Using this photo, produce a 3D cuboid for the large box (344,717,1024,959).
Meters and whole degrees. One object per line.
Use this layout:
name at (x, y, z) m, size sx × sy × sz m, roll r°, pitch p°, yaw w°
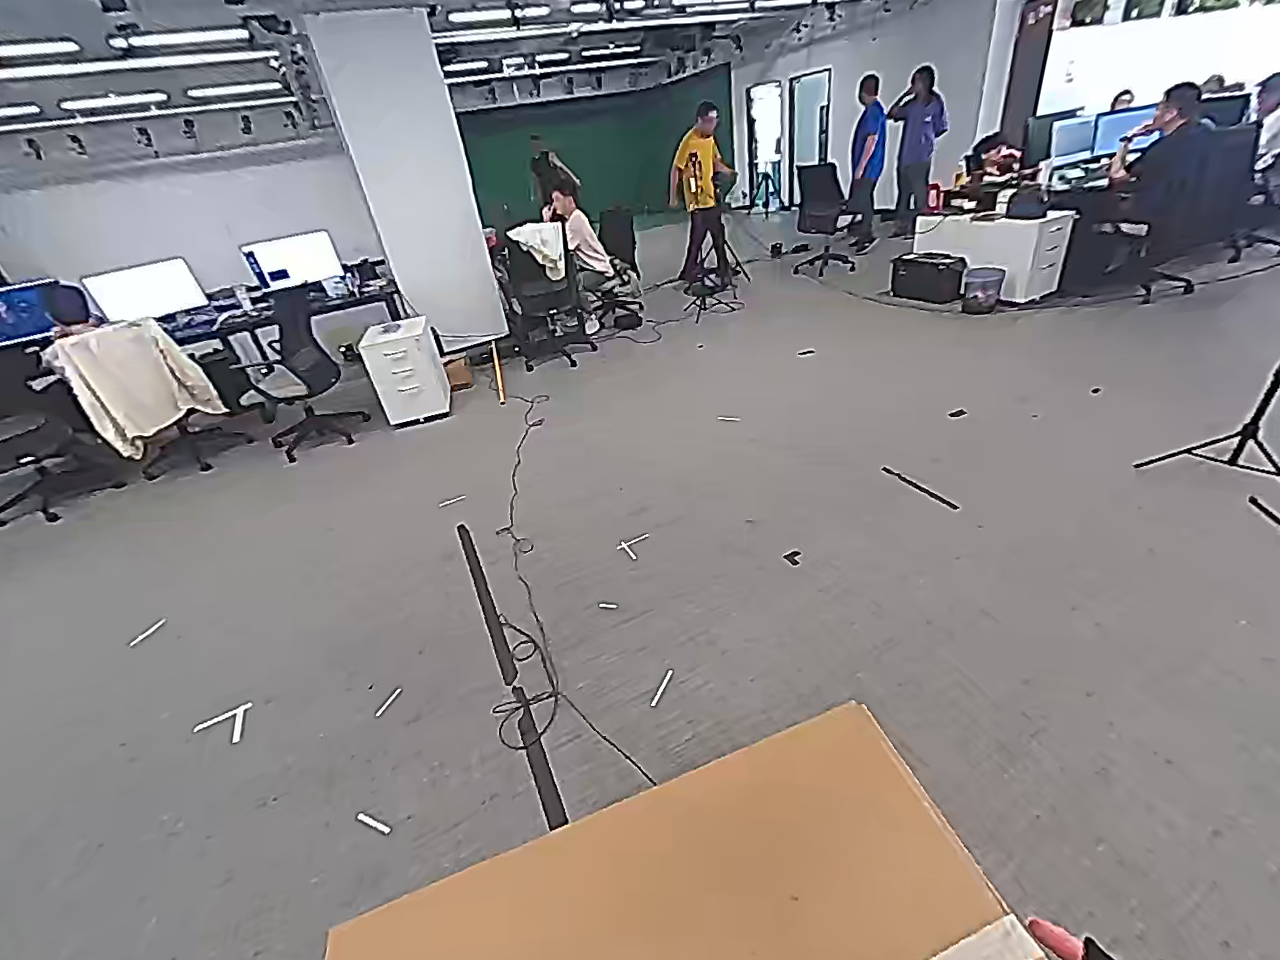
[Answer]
large box at (0.058, 0.448, 0.380) m, size 0.408 × 0.320 × 0.320 m, roll -18°, pitch 40°, yaw -10°
